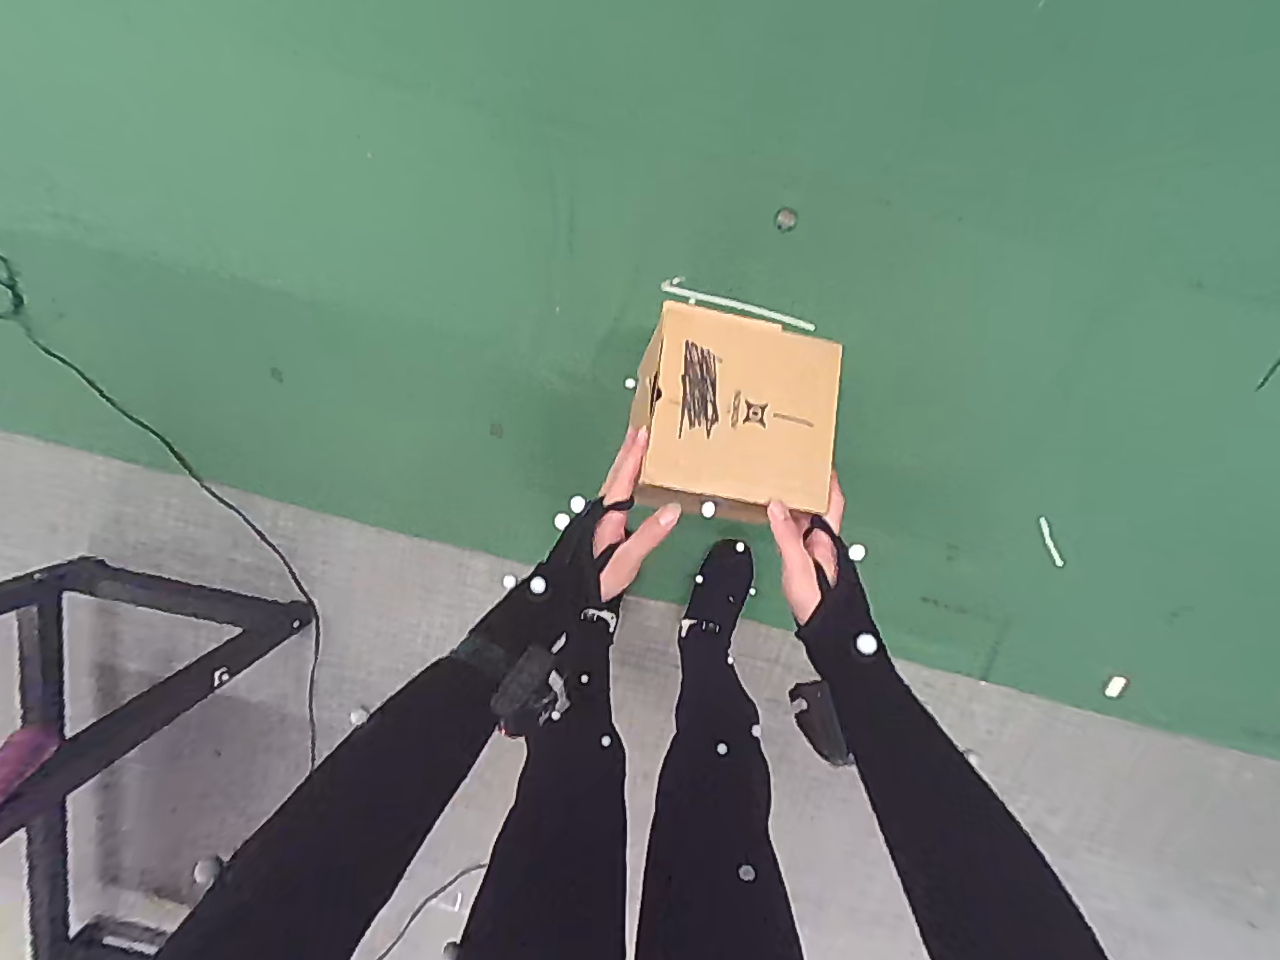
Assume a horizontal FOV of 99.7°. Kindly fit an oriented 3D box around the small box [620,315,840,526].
[{"bbox_3d":[0.081,-0.046,0.566,0.179,0.176,0.168,10,81,-8],"label":"small box"}]
